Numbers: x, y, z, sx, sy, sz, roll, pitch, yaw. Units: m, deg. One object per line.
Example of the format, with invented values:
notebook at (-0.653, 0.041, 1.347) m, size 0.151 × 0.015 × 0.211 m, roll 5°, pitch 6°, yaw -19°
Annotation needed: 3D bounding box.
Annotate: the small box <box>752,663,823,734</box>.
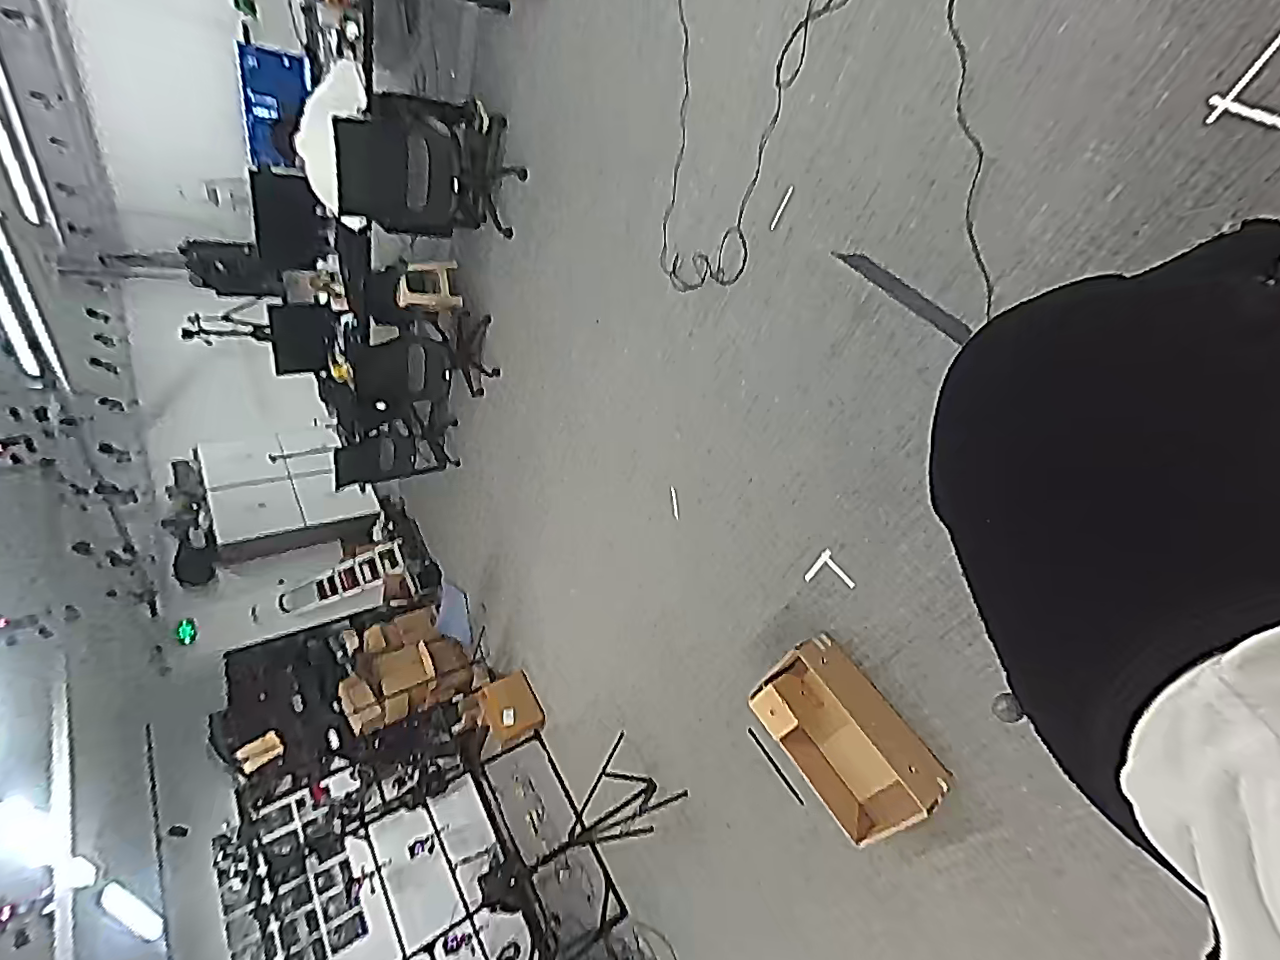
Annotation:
small box at (0.578, 0.850, 2.109) m, size 0.168 × 0.176 × 0.179 m, roll 52°, pitch 135°, yaw 28°
